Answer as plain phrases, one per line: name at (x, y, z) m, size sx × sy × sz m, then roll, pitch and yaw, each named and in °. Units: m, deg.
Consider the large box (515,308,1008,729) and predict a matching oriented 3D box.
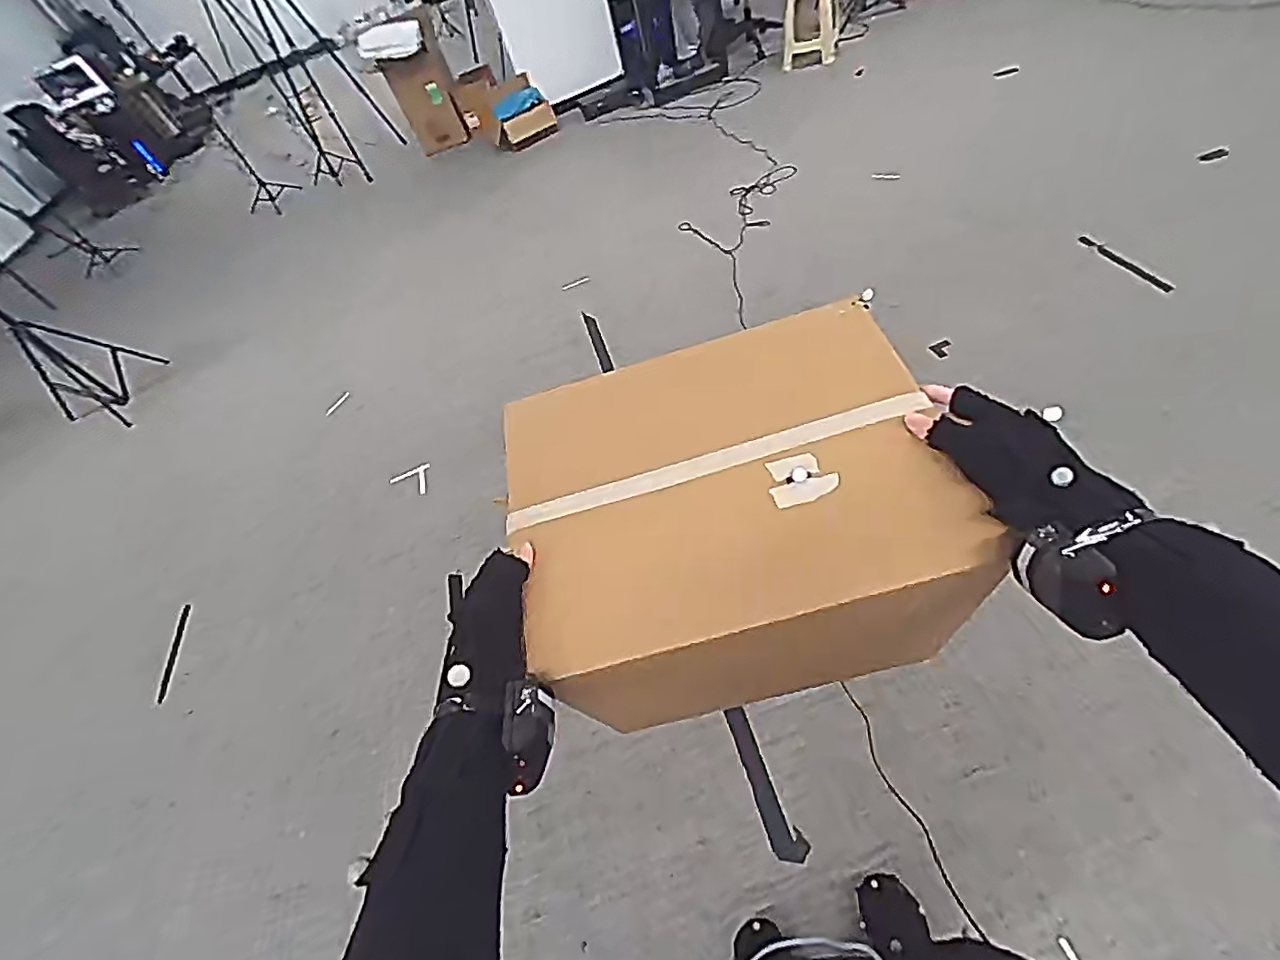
large box at (0.106, 0.066, 0.645) m, size 0.408 × 0.320 × 0.320 m, roll -17°, pitch 57°, yaw 3°
